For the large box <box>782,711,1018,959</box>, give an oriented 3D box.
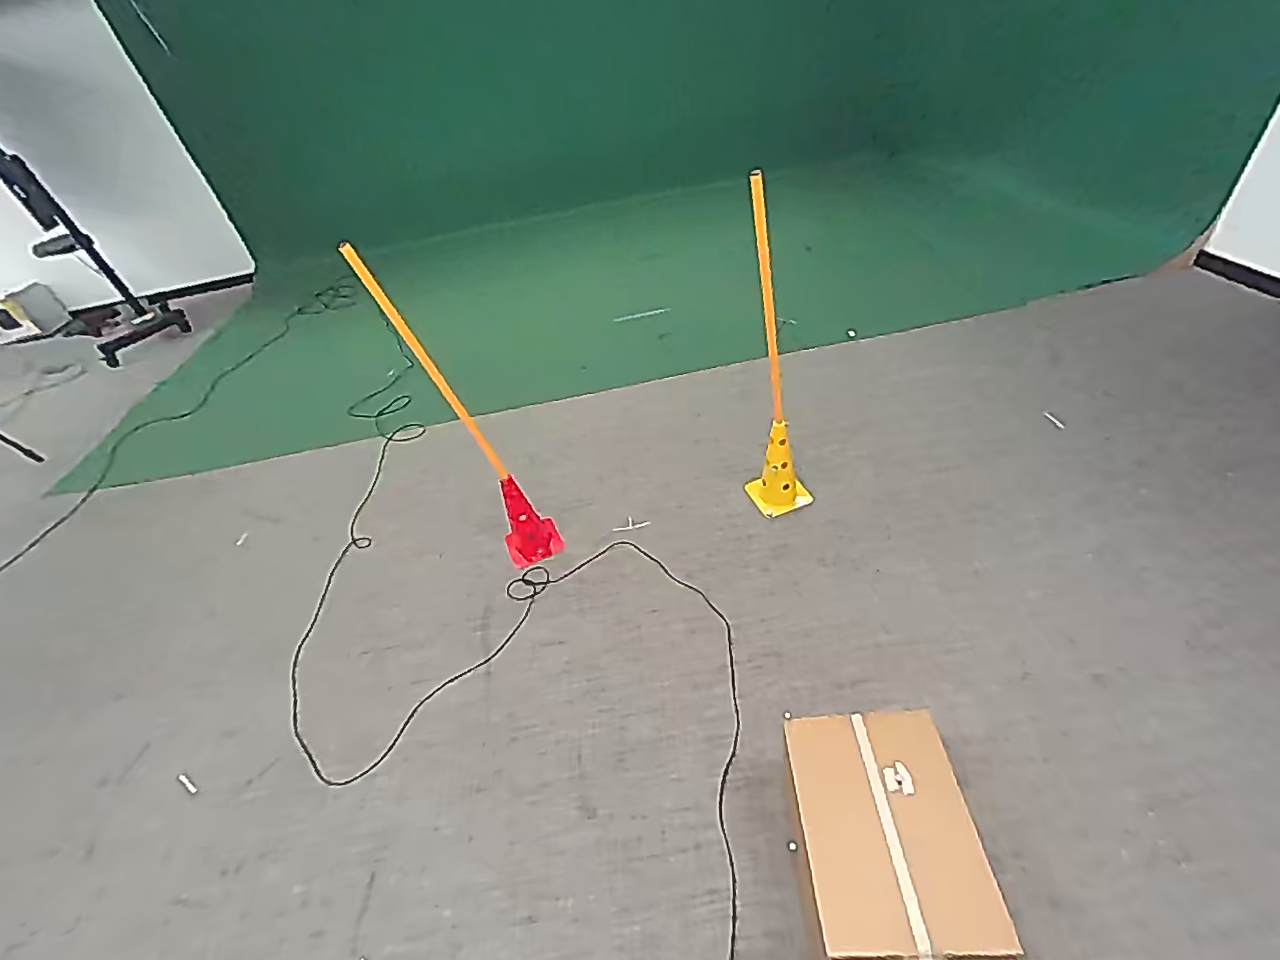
[{"bbox_3d":[0.491,0.760,1.133,0.320,0.320,0.408,-6,41,6],"label":"large box"}]
